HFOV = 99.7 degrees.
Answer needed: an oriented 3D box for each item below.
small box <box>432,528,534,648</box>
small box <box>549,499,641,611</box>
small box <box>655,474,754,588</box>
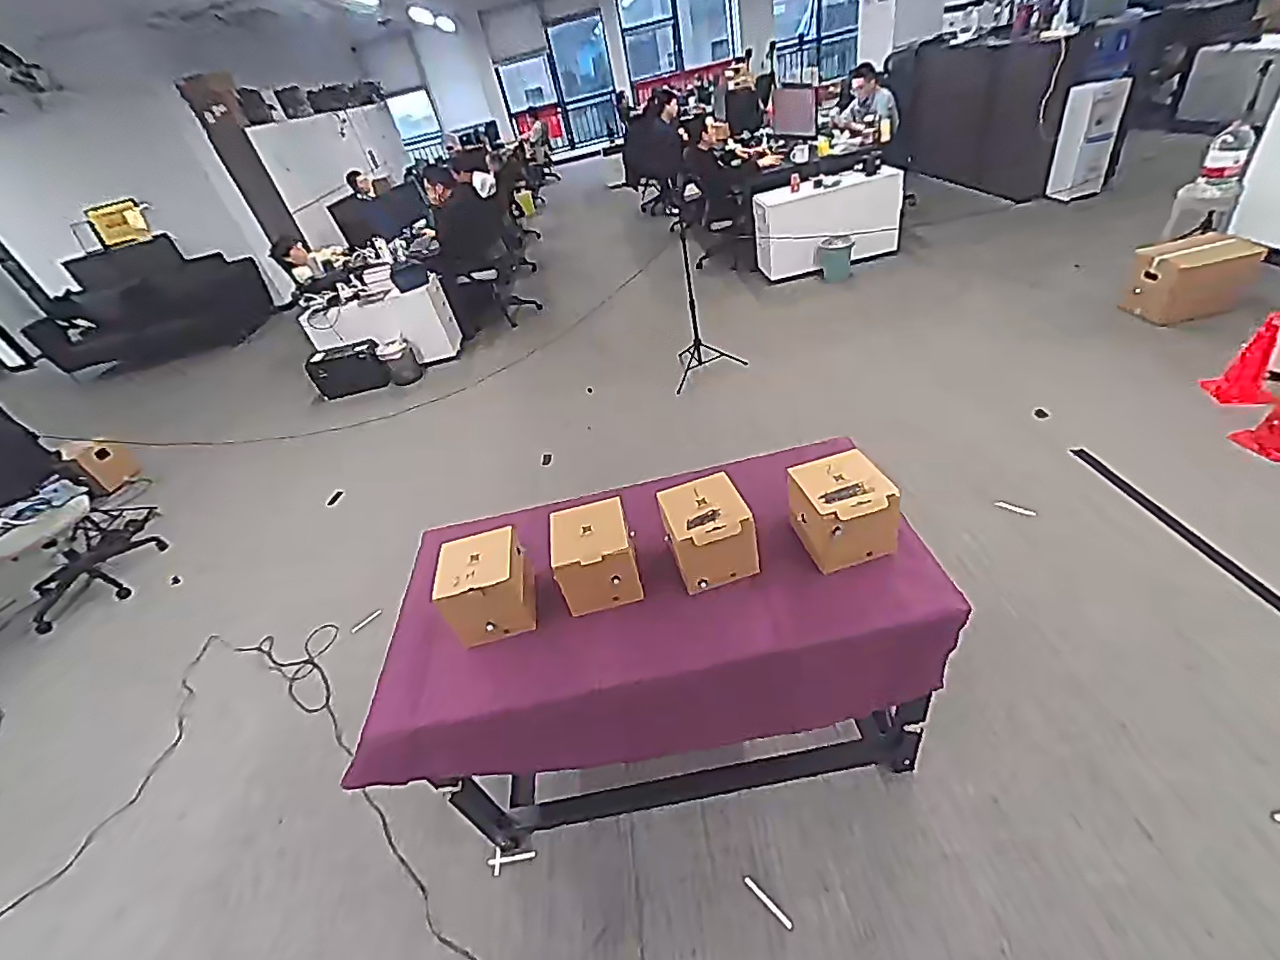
[{"bbox_3d":[-0.342,0.242,1.214,0.168,0.176,0.179,-16,38,0],"label":"small box"},{"bbox_3d":[-0.101,0.176,1.220,0.168,0.176,0.179,-14,37,0],"label":"small box"},{"bbox_3d":[0.145,0.119,1.206,0.168,0.176,0.179,-18,37,-4],"label":"small box"}]
